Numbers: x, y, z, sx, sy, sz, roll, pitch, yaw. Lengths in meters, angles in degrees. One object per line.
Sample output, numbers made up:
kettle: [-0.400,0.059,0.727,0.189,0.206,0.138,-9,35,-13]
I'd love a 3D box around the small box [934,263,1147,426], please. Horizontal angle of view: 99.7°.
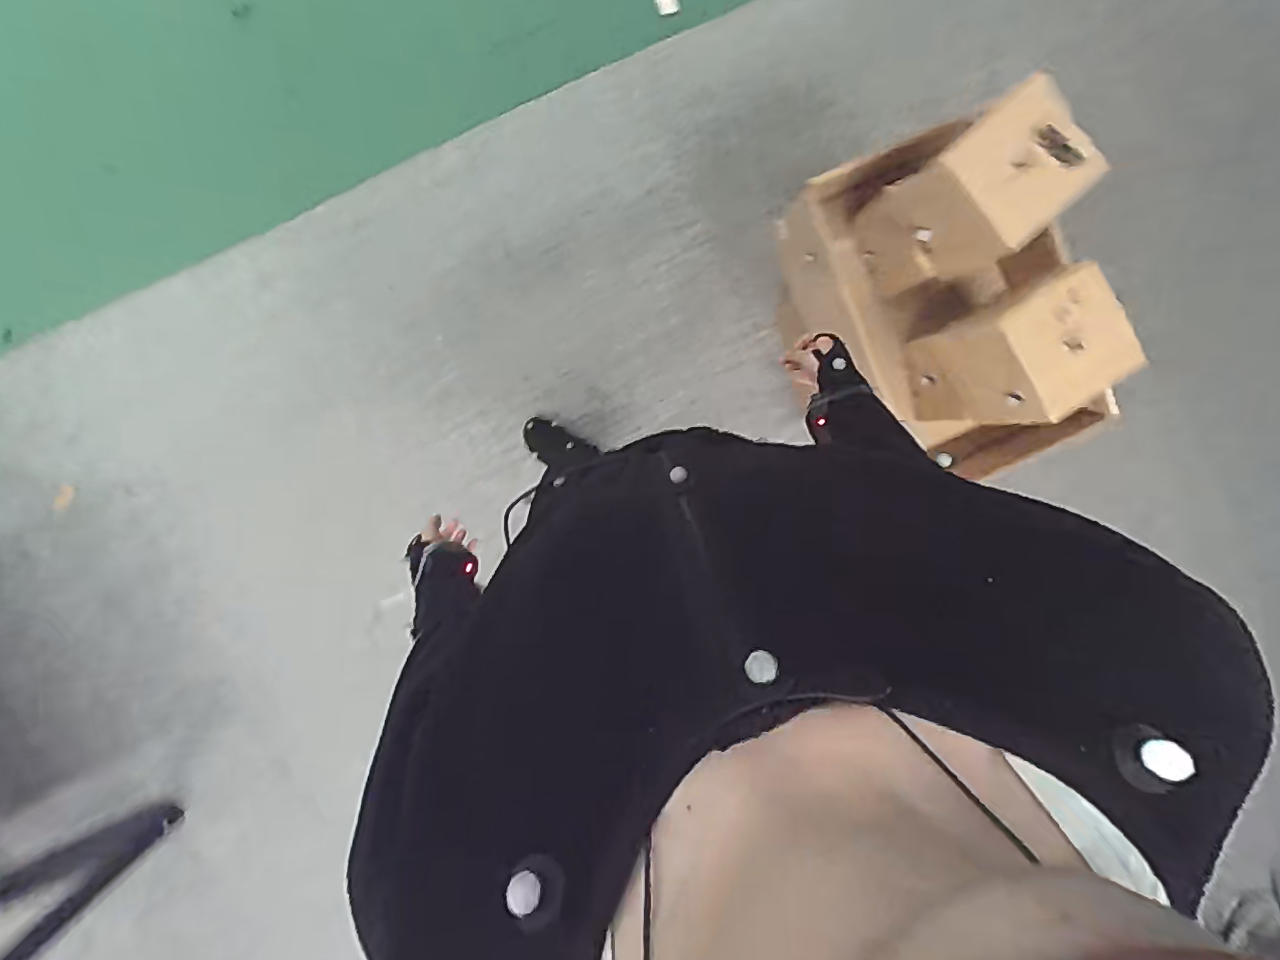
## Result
small box: [0.609,-0.200,0.844,0.168,0.176,0.179,-32,96,-1]

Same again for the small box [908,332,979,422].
small box: [0.628,-0.206,1.011,0.179,0.176,0.168,-14,96,-2]

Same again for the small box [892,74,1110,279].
small box: [0.526,-0.439,0.815,0.179,0.176,0.168,-41,96,2]
